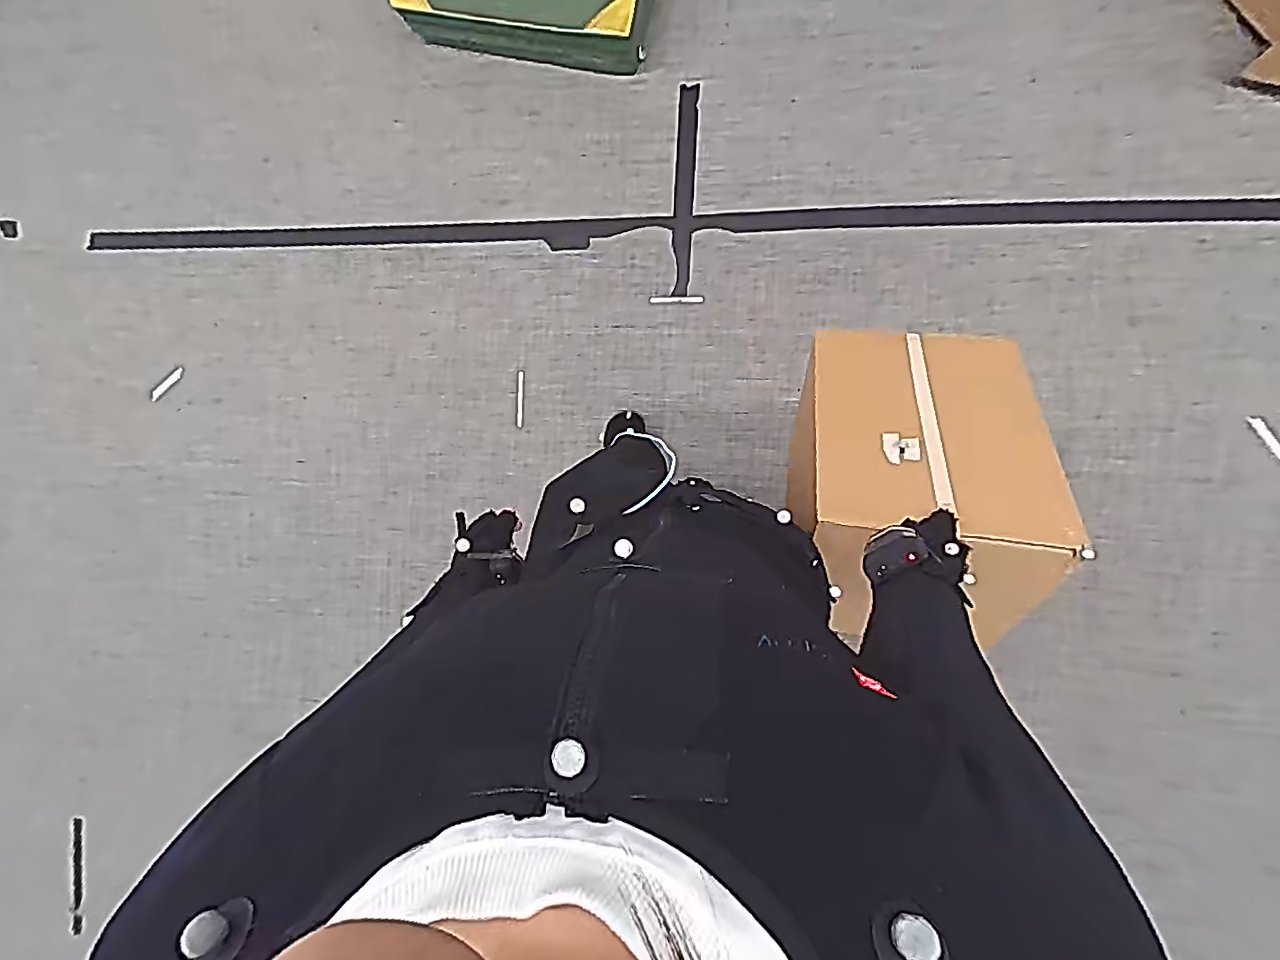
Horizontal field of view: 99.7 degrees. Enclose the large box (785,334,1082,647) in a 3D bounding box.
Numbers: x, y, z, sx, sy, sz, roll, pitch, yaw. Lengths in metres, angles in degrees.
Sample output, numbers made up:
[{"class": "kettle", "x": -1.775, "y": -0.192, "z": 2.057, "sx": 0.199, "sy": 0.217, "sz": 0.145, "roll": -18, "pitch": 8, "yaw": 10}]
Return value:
[{"class": "large box", "x": 0.421, "y": 0.012, "z": 0.902, "sx": 0.320, "sy": 0.320, "sz": 0.408, "roll": 6, "pitch": 53, "yaw": 10}]
